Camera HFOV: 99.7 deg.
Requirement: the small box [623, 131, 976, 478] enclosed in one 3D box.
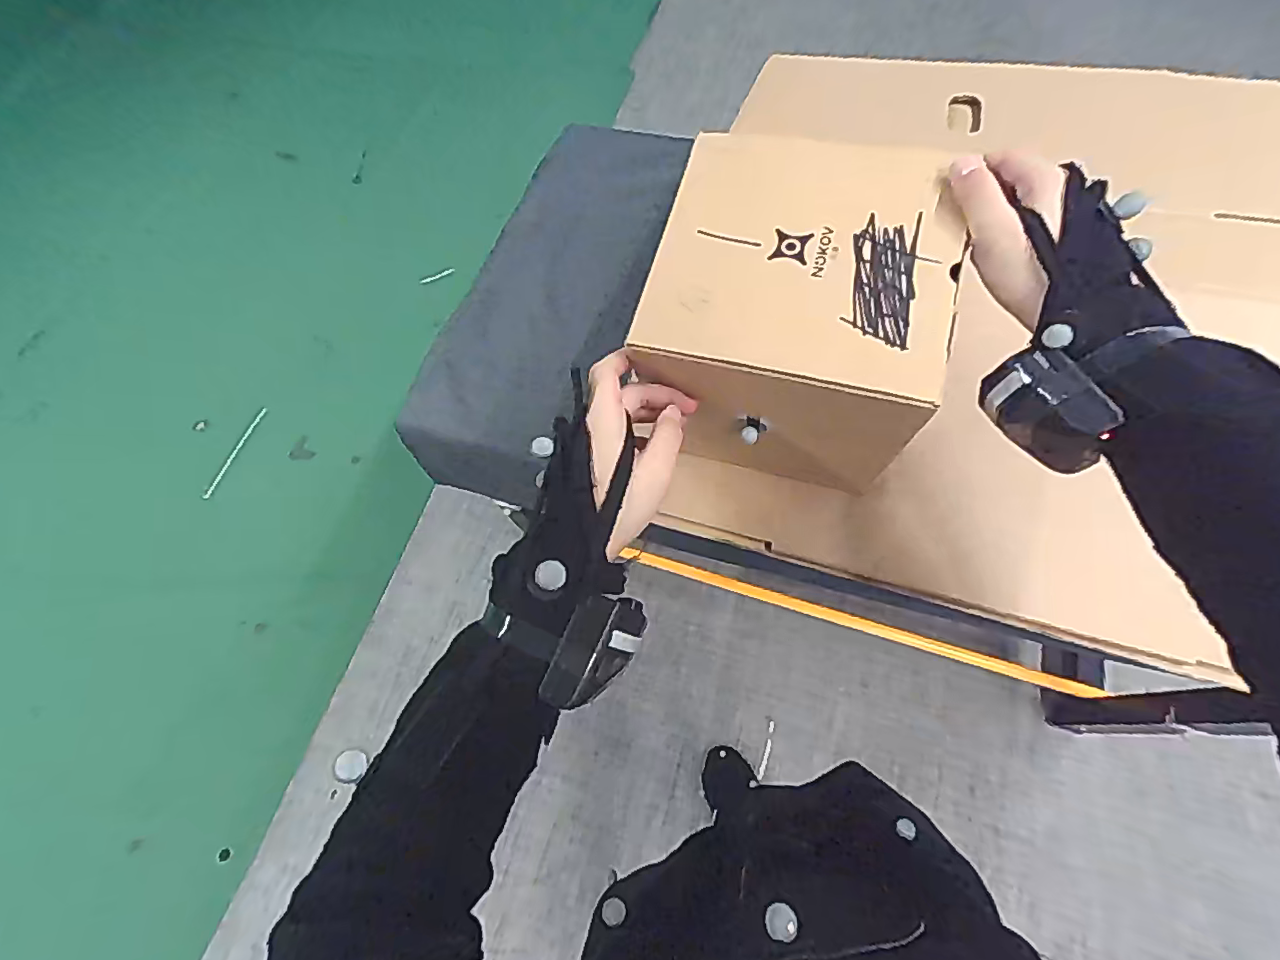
[{"bbox_3d":[0.107,-0.112,0.397,0.179,0.176,0.168,14,76,14],"label":"small box"}]
